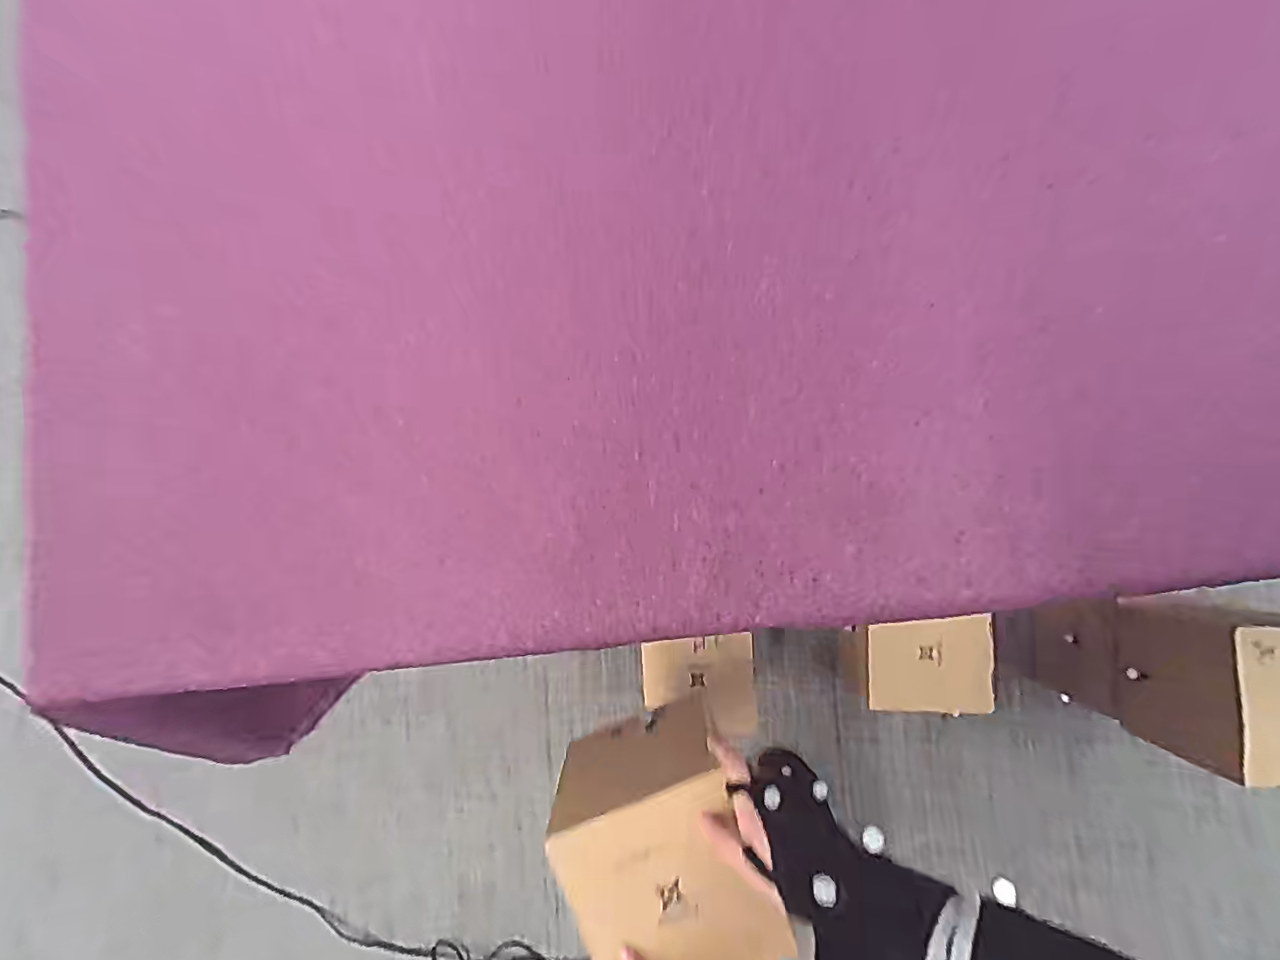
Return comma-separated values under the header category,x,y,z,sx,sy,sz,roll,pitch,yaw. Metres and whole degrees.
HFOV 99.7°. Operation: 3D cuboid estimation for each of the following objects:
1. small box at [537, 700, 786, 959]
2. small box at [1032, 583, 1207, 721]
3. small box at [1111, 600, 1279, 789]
category,x,y,z,sx,sy,sz,roll,pitch,yaw
small box,0.020,0.351,0.525,0.168,0.176,0.179,-21,91,0
small box,0.742,0.261,0.835,0.168,0.176,0.179,5,85,5
small box,0.732,0.254,0.669,0.168,0.176,0.179,1,87,3
